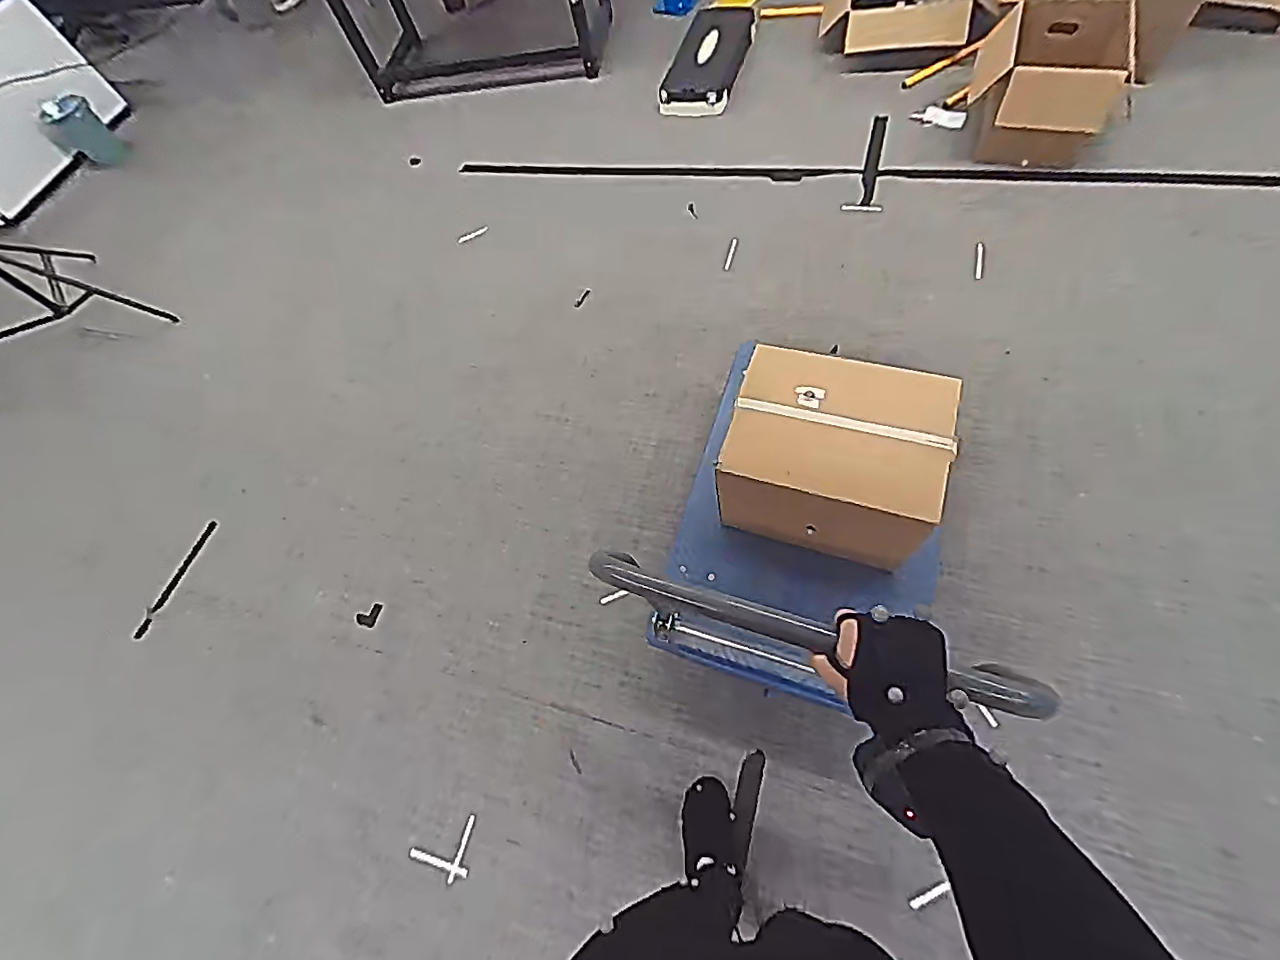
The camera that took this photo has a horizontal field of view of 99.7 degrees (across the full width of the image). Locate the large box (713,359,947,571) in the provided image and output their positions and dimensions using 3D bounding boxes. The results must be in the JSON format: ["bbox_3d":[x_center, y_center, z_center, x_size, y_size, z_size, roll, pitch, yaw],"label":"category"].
[{"bbox_3d":[0.405,-0.027,1.199,0.408,0.320,0.320,14,67,18],"label":"large box"}]
